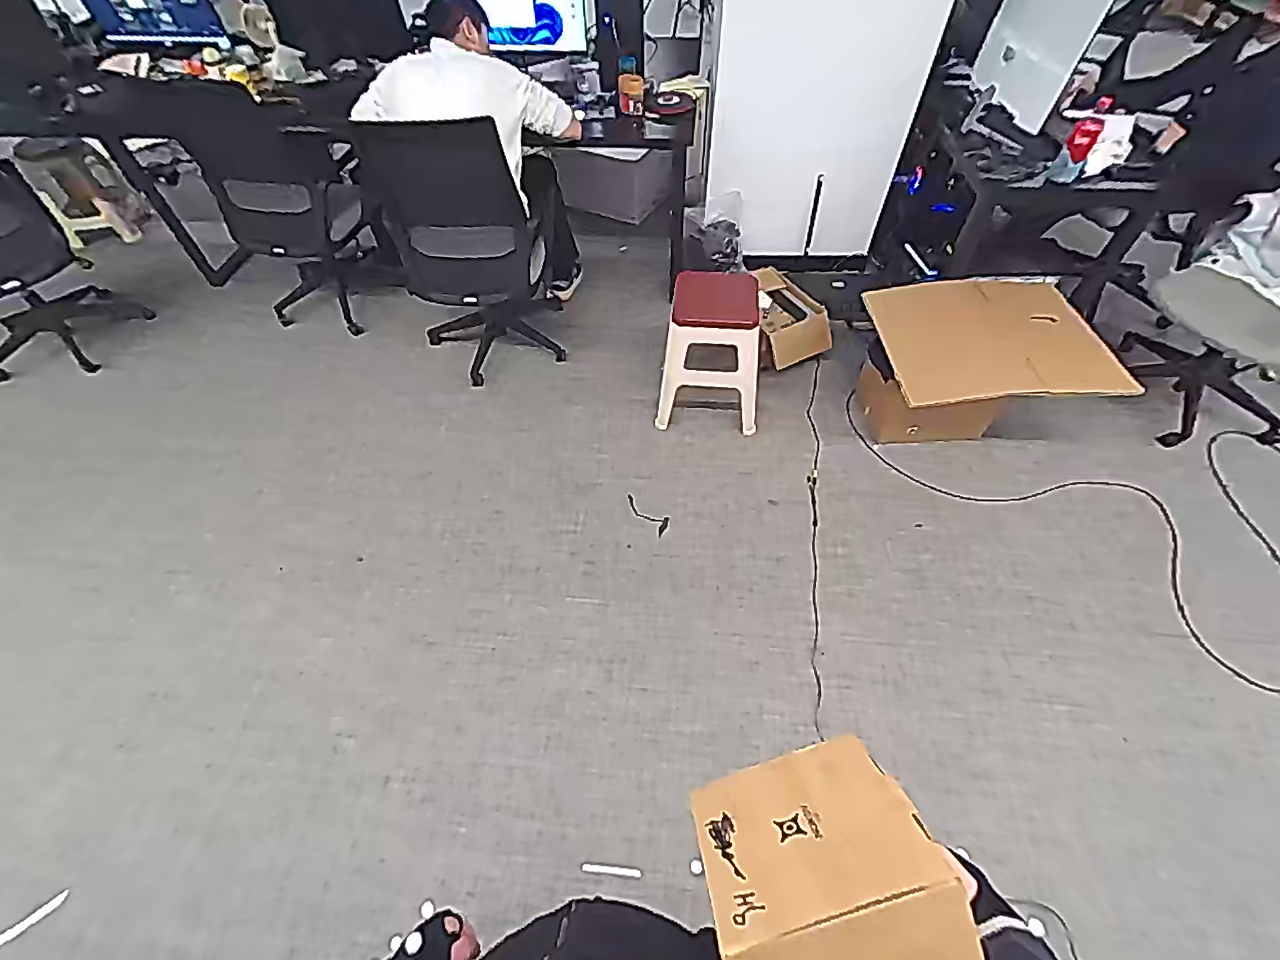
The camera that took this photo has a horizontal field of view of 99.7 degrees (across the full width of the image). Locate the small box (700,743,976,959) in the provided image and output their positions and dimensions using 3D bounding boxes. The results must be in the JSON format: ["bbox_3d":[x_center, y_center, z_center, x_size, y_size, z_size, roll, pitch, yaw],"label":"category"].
[{"bbox_3d":[0.168,0.377,0.475,0.179,0.168,0.176,-18,97,0],"label":"small box"}]
